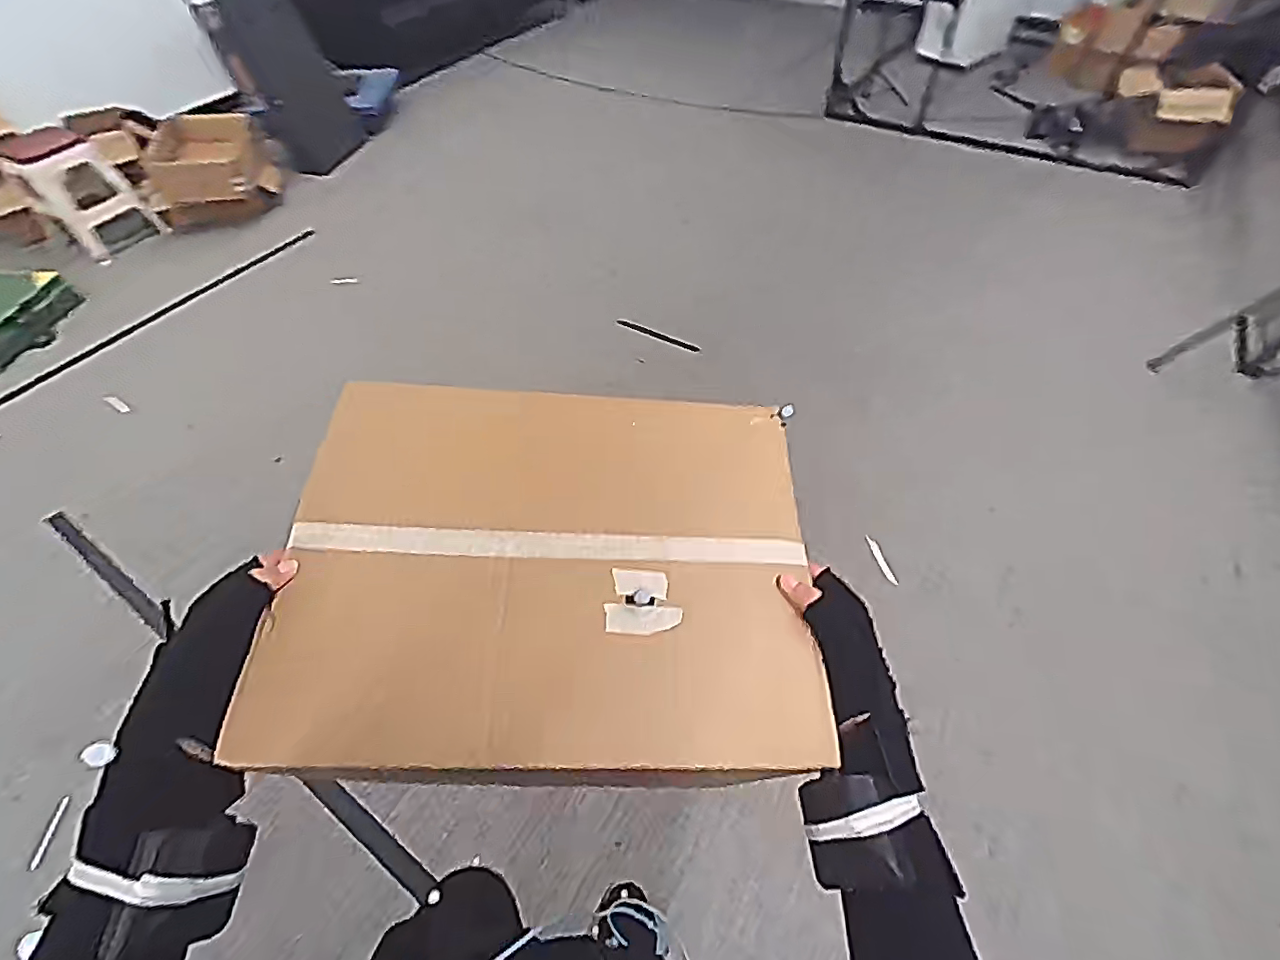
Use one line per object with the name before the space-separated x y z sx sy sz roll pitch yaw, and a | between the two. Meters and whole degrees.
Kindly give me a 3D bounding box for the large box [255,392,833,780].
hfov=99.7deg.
large box | -0.073 0.134 0.572 0.408 0.320 0.320 4 60 -5
